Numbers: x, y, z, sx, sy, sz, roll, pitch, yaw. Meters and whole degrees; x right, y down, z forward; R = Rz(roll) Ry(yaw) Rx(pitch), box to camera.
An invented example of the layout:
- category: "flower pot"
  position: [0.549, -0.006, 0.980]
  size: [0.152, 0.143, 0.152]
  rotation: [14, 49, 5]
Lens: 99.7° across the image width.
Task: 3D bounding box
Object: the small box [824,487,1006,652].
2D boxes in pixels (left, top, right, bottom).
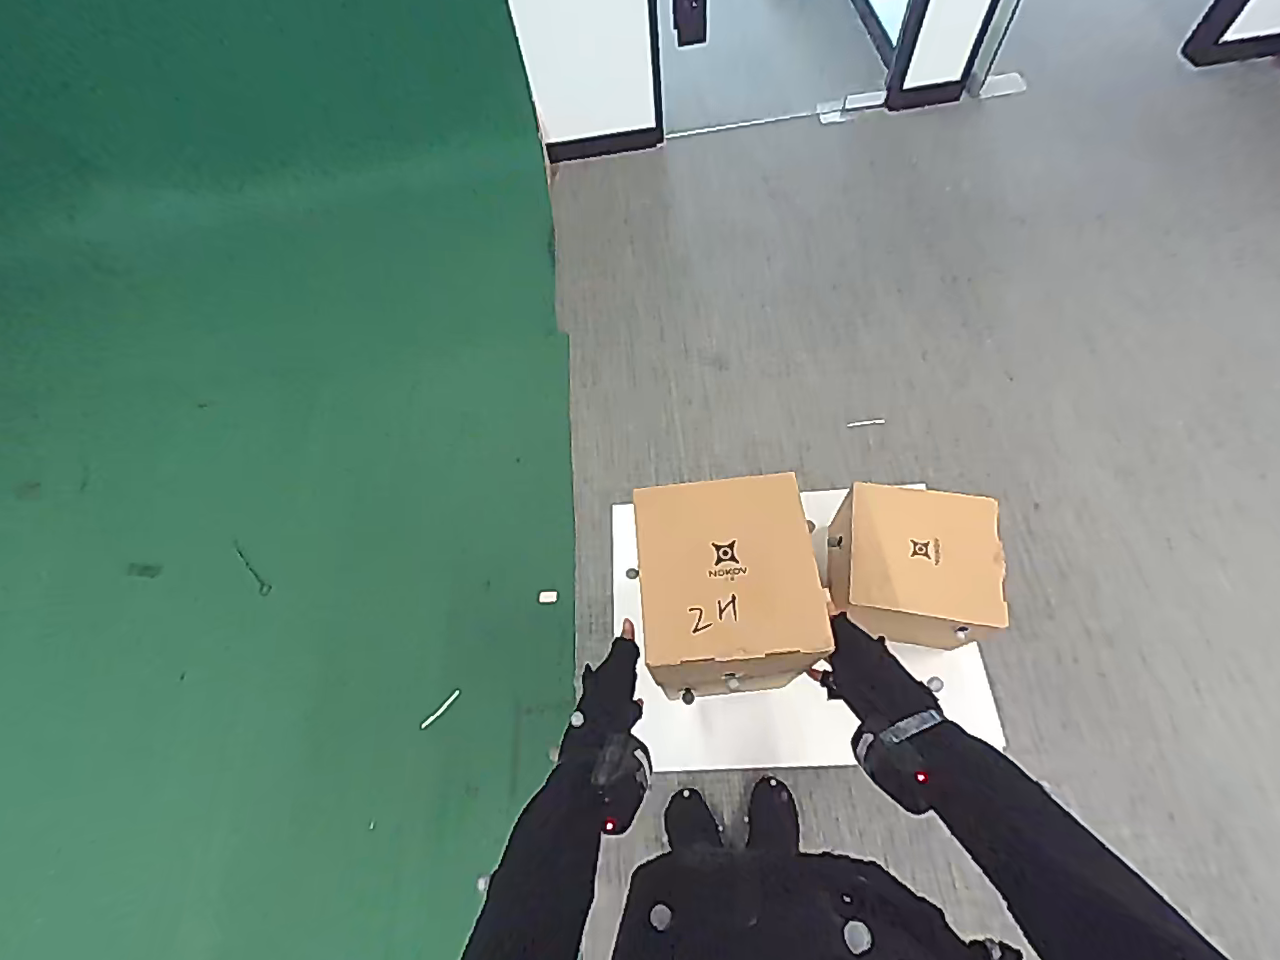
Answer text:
- category: "small box"
  position: [0.352, 0.126, 0.729]
  size: [0.179, 0.176, 0.168]
  rotation: [7, 65, 10]

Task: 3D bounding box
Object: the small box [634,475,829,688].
- category: "small box"
  position: [0.084, 0.115, 0.578]
  size: [0.168, 0.176, 0.179]
  rotation: [-6, 63, 3]
